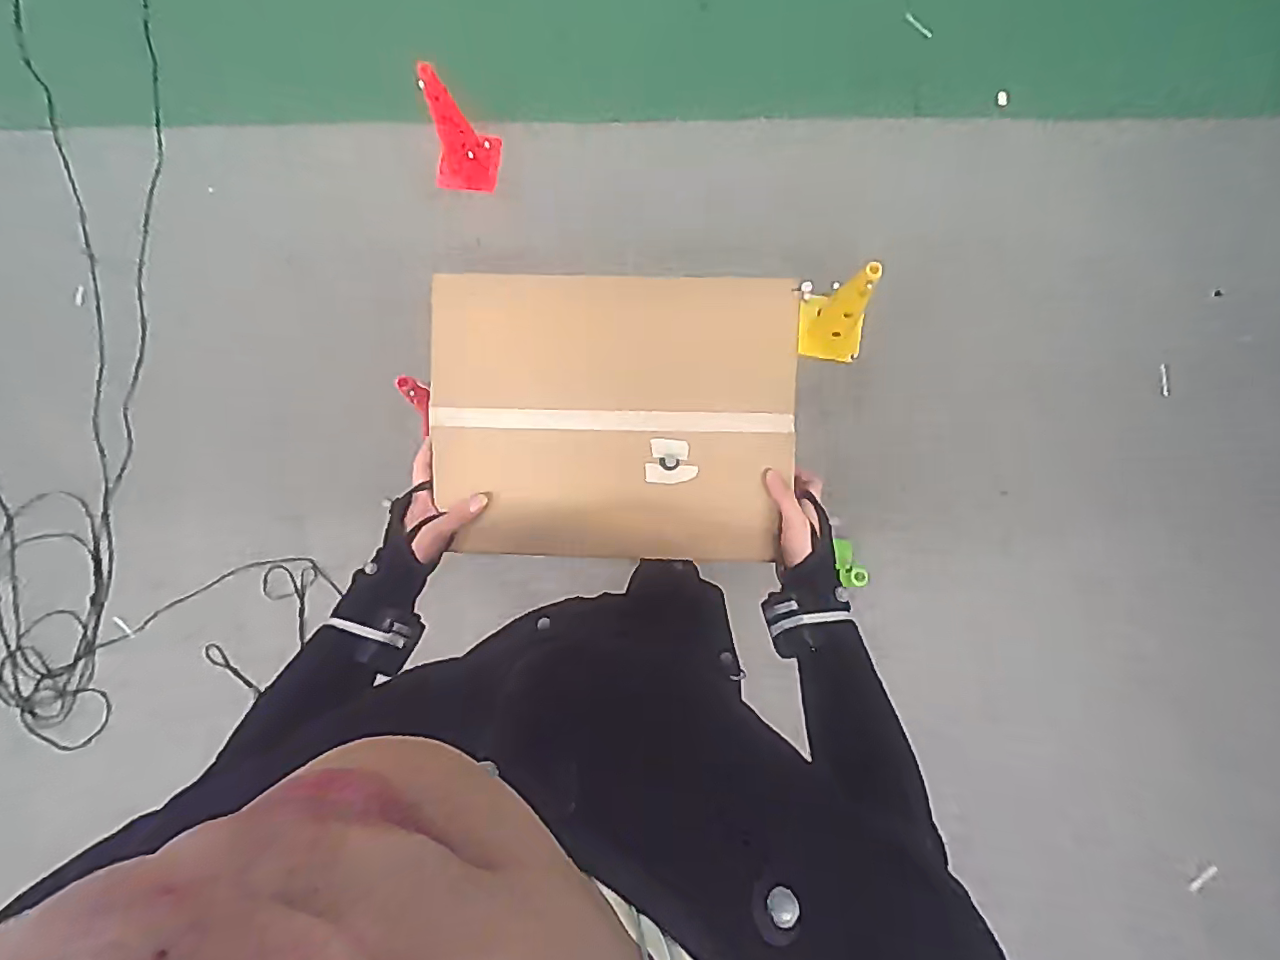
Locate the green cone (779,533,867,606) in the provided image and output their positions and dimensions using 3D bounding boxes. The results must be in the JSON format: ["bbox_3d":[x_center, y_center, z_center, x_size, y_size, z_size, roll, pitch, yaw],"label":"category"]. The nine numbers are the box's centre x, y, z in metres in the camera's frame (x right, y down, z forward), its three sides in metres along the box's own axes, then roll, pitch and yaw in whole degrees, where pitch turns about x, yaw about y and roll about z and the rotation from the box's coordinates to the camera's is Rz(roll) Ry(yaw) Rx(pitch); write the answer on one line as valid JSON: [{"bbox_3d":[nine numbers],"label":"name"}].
[{"bbox_3d":[0.515,0.239,1.430,0.200,0.368,0.202,7,82,2],"label":"green cone"}]

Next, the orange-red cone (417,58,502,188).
[{"bbox_3d":[-0.574,-1.084,1.614,0.199,0.360,0.198,8,83,4],"label":"orange-red cone"}]

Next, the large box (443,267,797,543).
[{"bbox_3d":[-0.024,-0.092,0.760,0.408,0.320,0.320,1,95,1],"label":"large box"}]
